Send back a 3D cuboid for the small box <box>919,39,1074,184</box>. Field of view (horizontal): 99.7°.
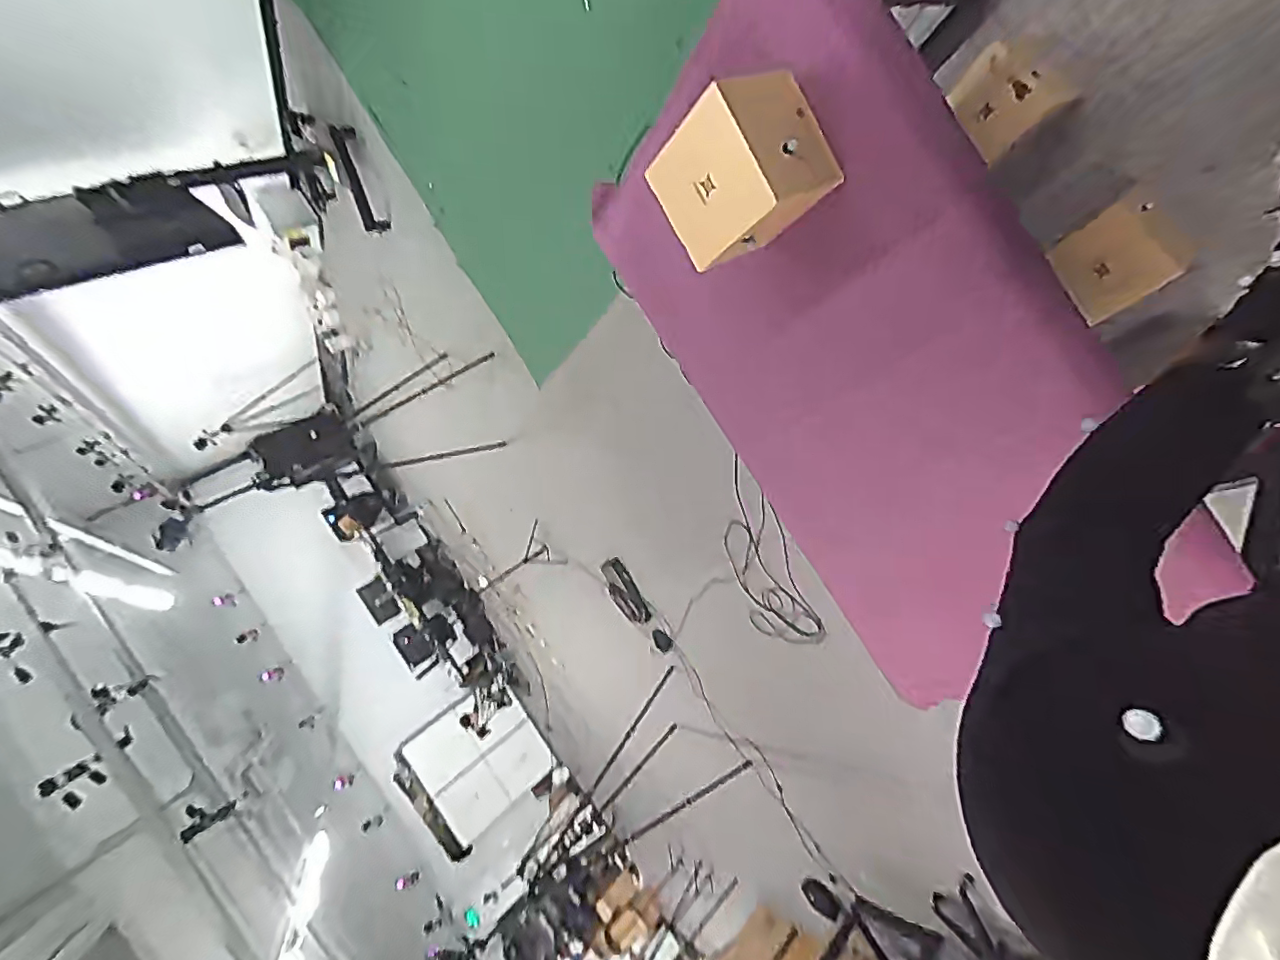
[{"bbox_3d":[0.720,-0.744,1.094,0.168,0.176,0.179,54,149,6],"label":"small box"}]

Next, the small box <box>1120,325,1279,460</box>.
[{"bbox_3d":[1.113,-0.175,1.064,0.168,0.176,0.179,52,148,8],"label":"small box"}]

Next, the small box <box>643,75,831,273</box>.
[{"bbox_3d":[0.144,-0.433,0.770,0.168,0.176,0.179,59,150,-6],"label":"small box"}]

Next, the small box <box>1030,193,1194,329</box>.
[{"bbox_3d":[0.935,-0.439,1.073,0.179,0.176,0.168,53,149,6],"label":"small box"}]
